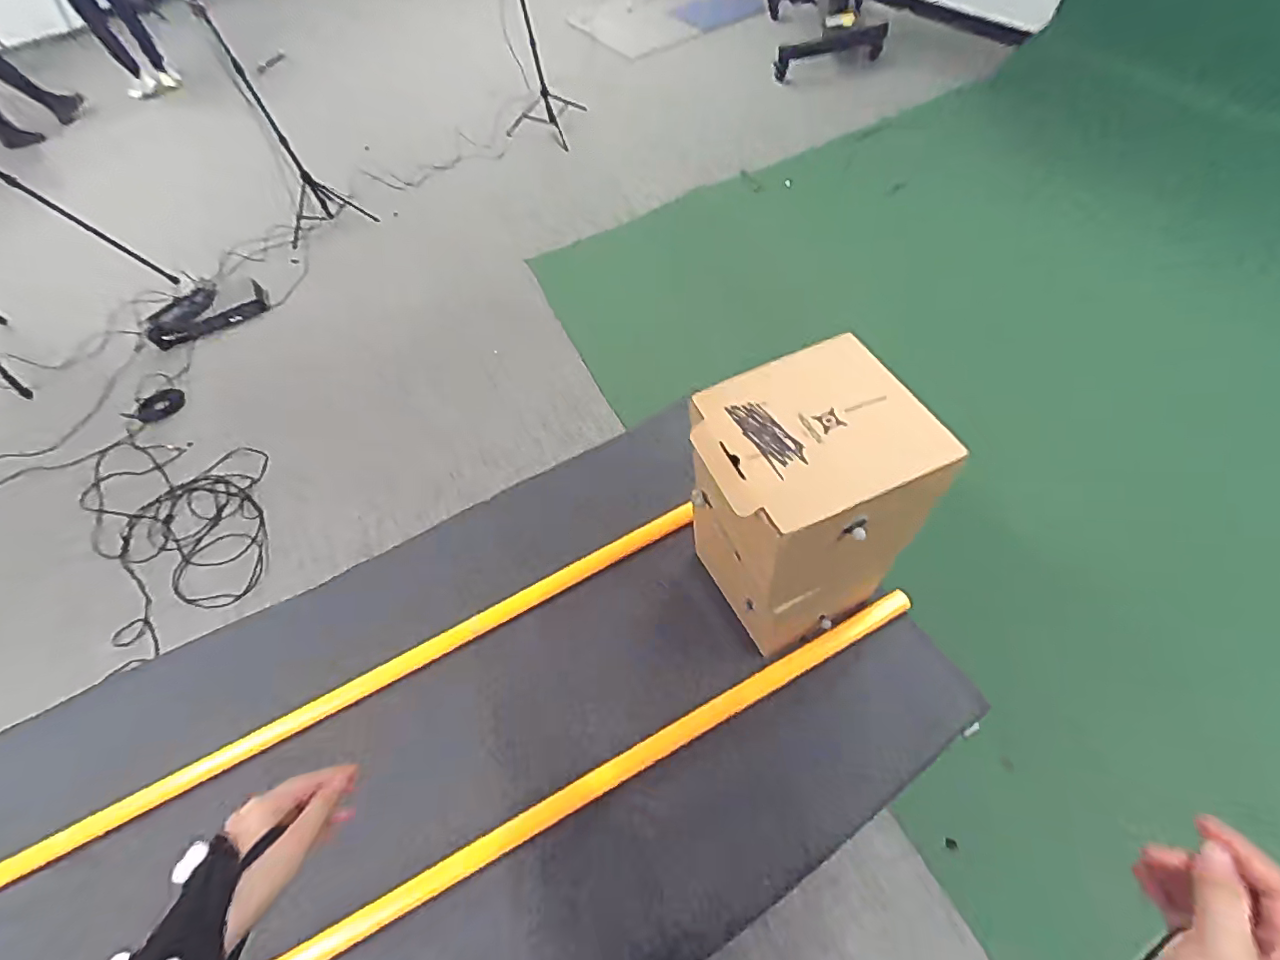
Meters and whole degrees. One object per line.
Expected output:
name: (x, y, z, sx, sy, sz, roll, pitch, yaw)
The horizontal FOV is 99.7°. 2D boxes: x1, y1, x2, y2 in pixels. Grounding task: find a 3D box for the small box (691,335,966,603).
small box: (0.166, -0.004, 0.533, 0.179, 0.176, 0.168, -22, 57, -7)
